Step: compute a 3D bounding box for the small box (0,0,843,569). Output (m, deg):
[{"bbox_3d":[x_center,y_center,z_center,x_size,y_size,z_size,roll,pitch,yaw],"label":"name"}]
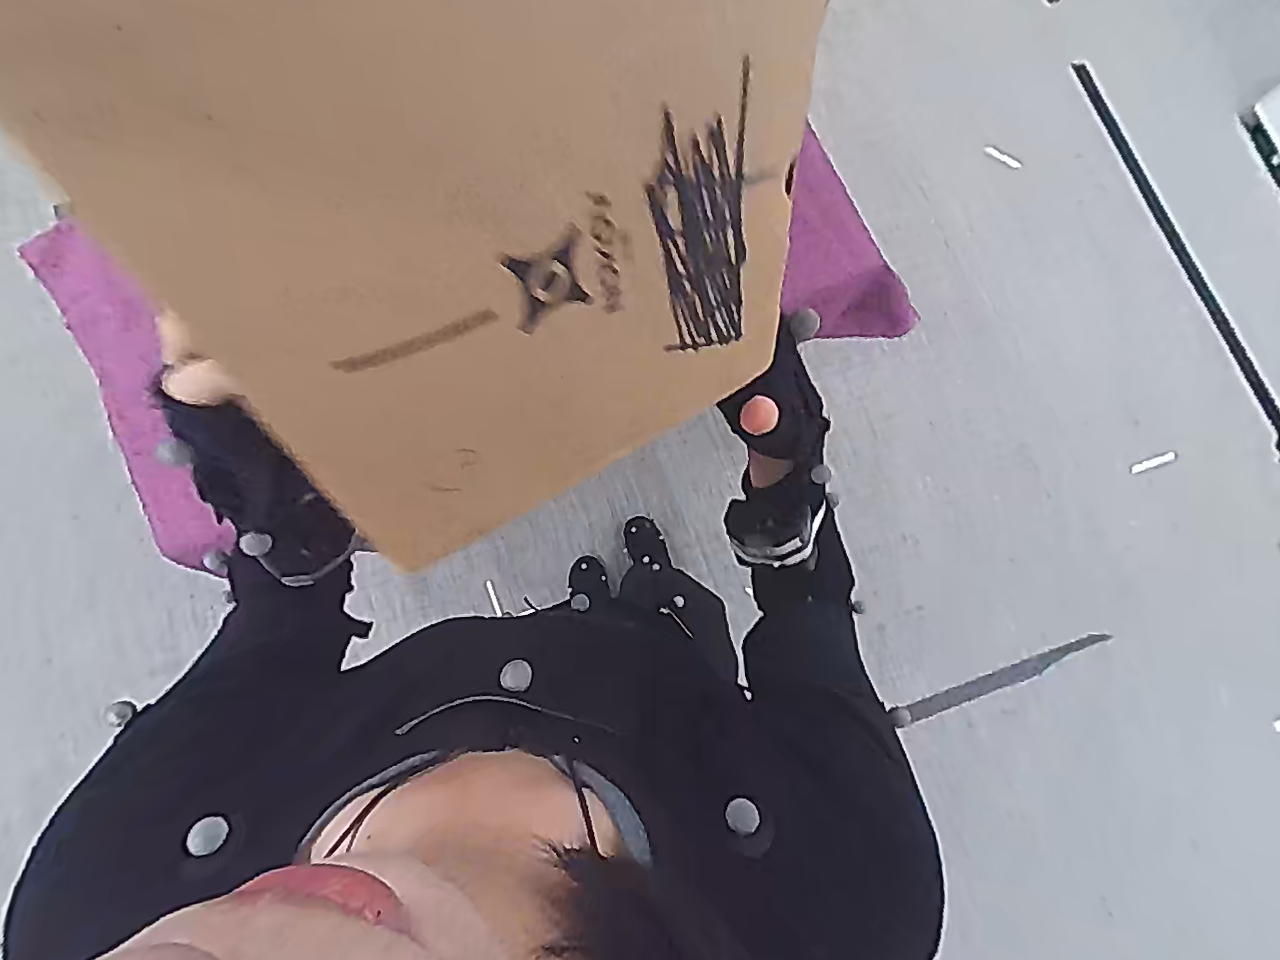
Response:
[{"bbox_3d":[-0.060,-0.109,0.195,0.179,0.168,0.176,-31,56,-19],"label":"small box"}]
